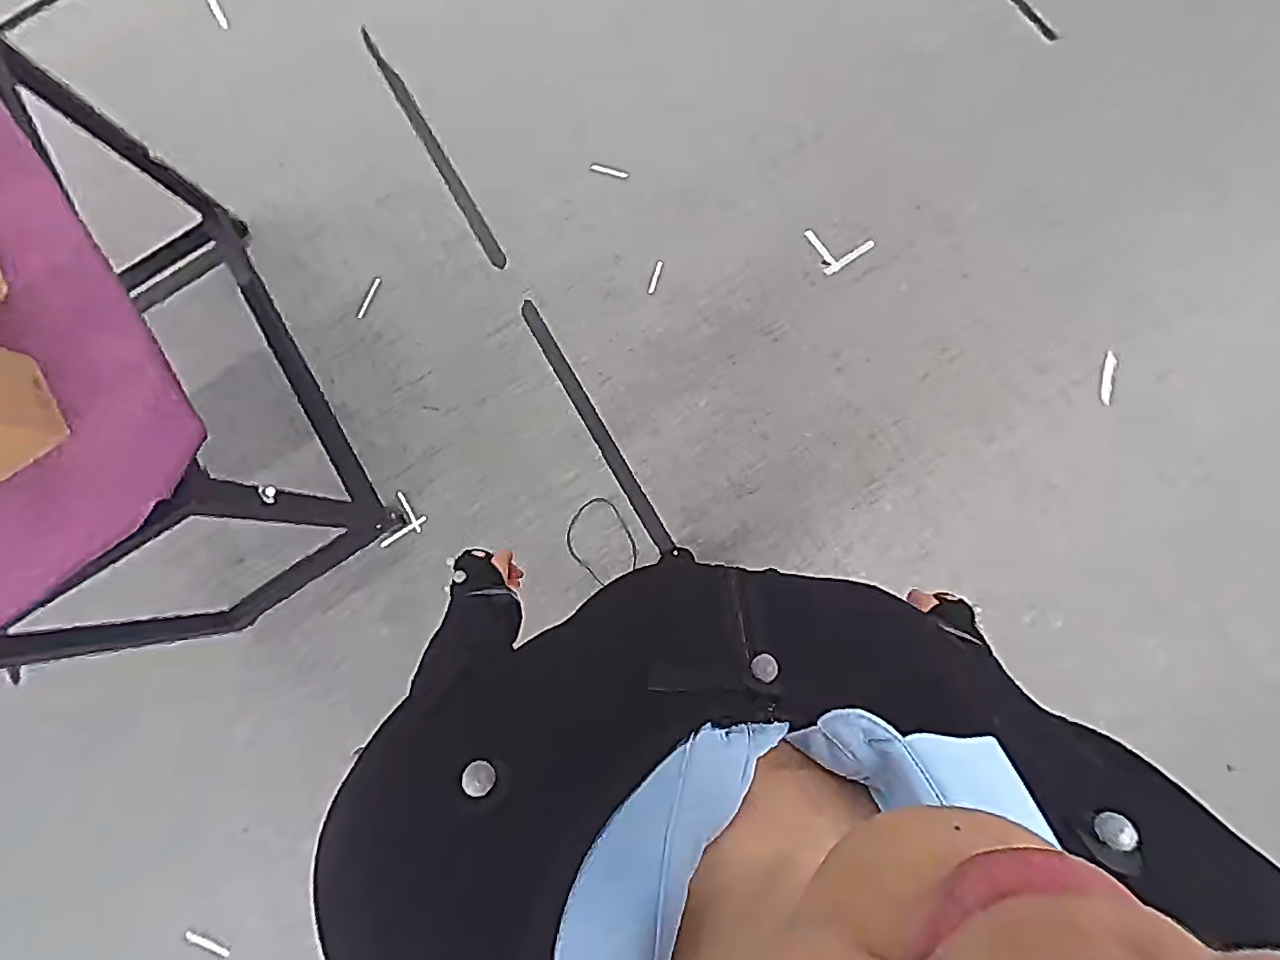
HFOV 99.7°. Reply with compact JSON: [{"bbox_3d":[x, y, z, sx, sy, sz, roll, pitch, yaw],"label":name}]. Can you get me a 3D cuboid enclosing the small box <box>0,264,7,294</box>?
[{"bbox_3d":[-1.221,-0.365,0.879,0.179,0.176,0.168,-32,81,-2],"label":"small box"}]
